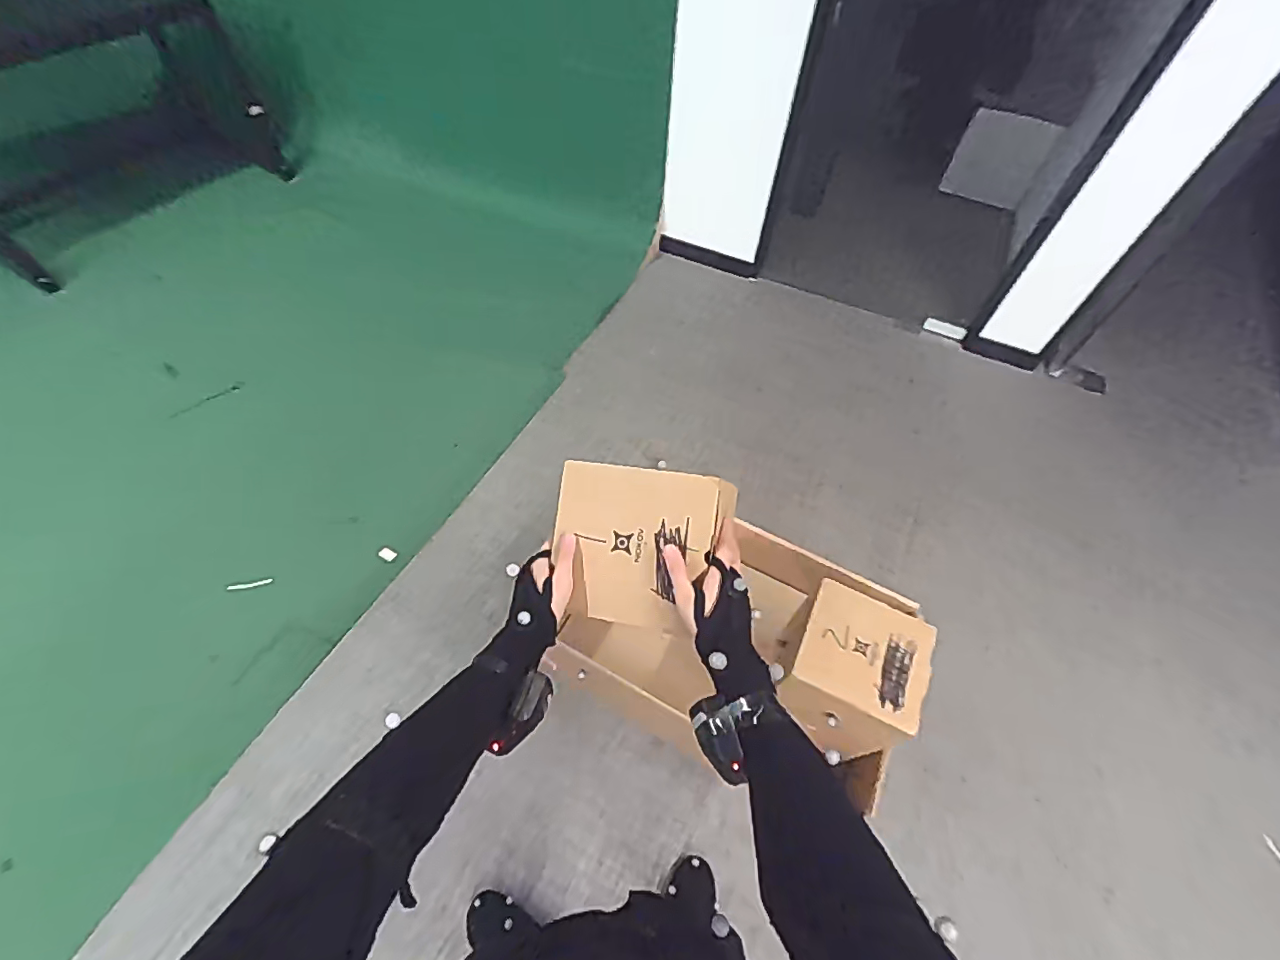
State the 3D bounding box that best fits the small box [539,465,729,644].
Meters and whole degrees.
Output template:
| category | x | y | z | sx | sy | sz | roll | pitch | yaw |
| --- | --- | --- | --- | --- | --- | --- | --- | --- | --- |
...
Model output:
| category | x | y | z | sx | sy | sz | roll | pitch | yaw |
| --- | --- | --- | --- | --- | --- | --- | --- | --- | --- |
| small box | 0.005 | 0.081 | 0.641 | 0.179 | 0.176 | 0.168 | 7 | 86 | 16 |
